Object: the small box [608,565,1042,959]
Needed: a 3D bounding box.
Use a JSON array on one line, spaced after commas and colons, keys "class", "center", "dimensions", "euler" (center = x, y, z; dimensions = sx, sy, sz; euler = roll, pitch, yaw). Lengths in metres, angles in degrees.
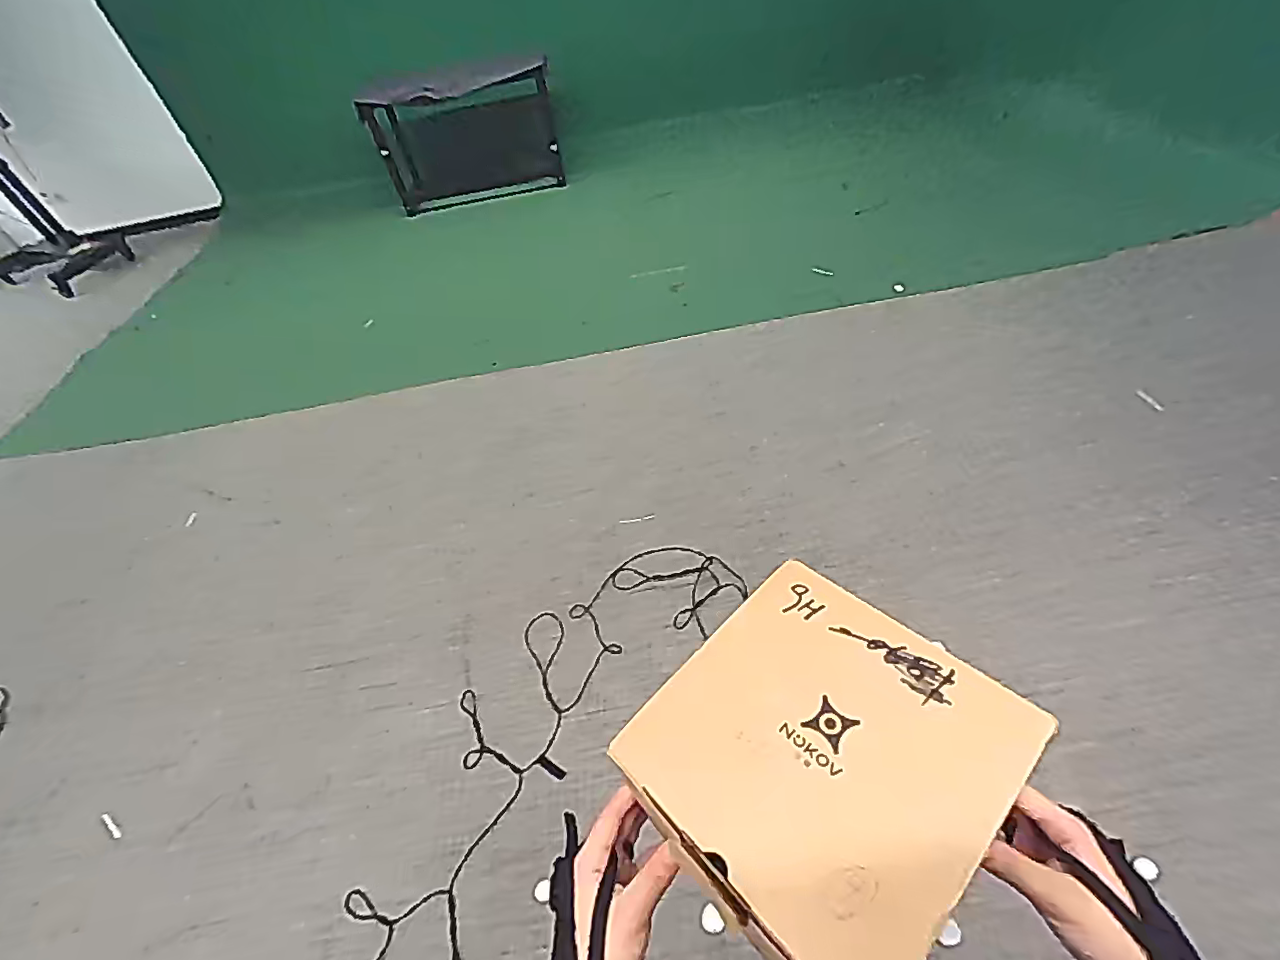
[{"class": "small box", "center": [0.111, 0.198, 0.351], "dimensions": [0.179, 0.176, 0.168], "euler": [-39, 49, -22]}]
